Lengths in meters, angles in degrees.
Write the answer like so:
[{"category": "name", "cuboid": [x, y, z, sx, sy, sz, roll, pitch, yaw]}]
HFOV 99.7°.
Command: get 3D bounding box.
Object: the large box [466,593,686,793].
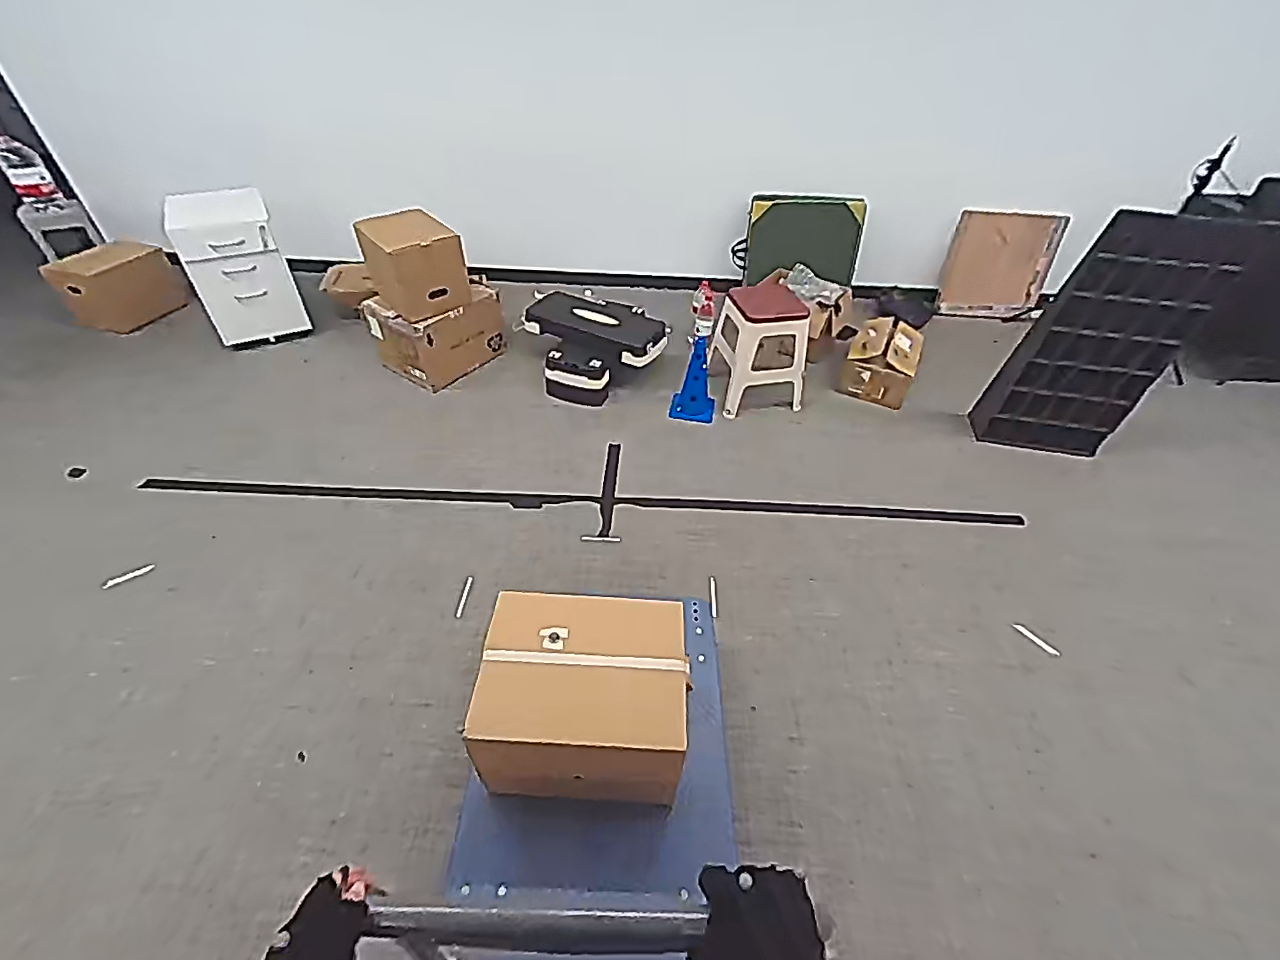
[{"category": "large box", "cuboid": [-0.113, 0.468, 1.181, 0.408, 0.320, 0.320, 3, 44, 1]}]
